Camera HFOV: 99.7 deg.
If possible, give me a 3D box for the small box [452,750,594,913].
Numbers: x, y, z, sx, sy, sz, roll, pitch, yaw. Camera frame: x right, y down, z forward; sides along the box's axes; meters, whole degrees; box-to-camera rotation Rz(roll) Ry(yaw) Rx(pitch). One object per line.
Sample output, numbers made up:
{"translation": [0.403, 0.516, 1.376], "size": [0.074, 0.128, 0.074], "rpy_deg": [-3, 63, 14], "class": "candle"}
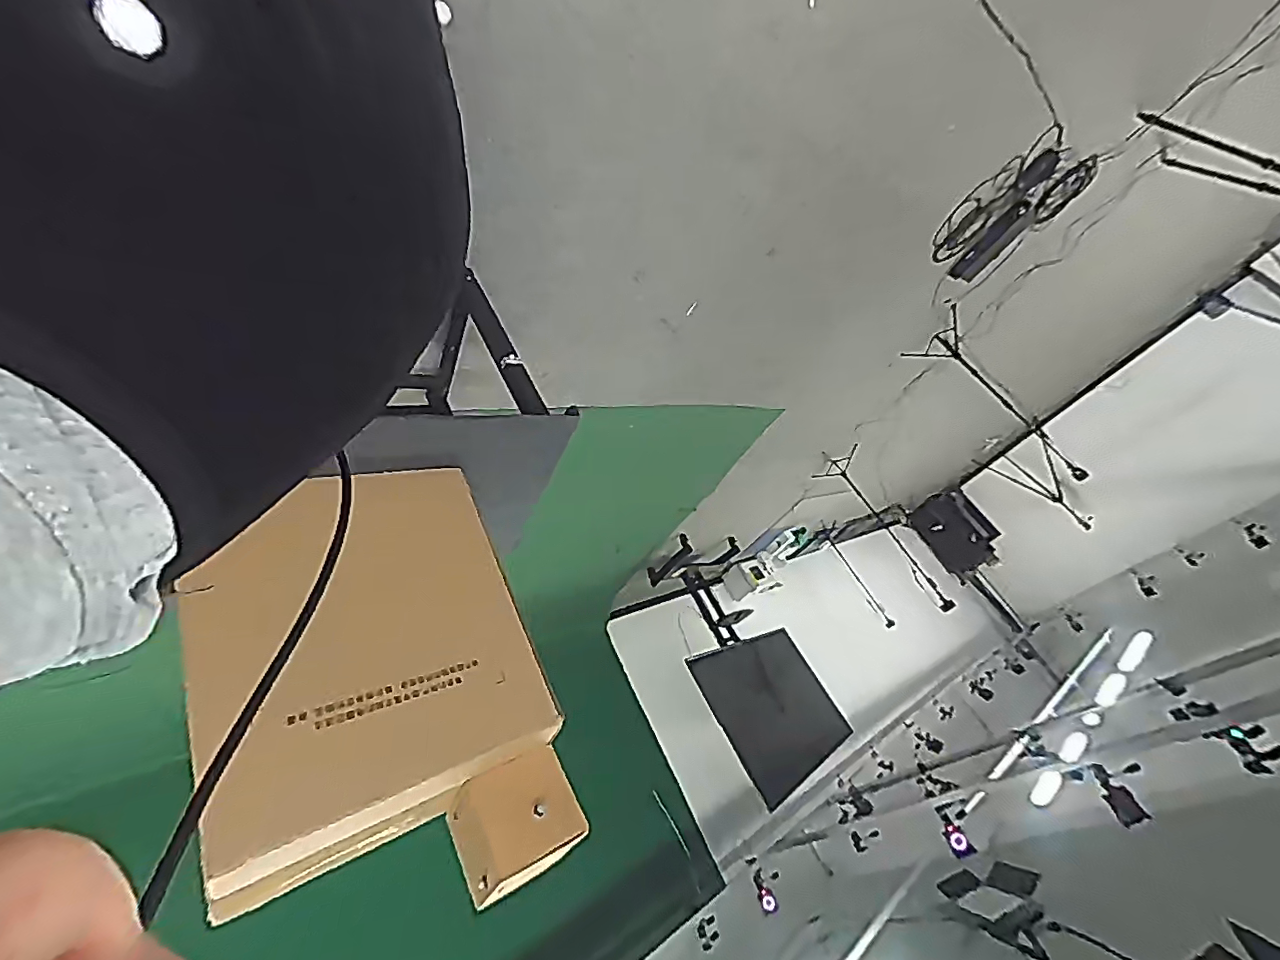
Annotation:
{"translation": [-0.220, 0.636, 0.997], "size": [0.179, 0.176, 0.168], "rpy_deg": [-7, 137, -41], "class": "small box"}
